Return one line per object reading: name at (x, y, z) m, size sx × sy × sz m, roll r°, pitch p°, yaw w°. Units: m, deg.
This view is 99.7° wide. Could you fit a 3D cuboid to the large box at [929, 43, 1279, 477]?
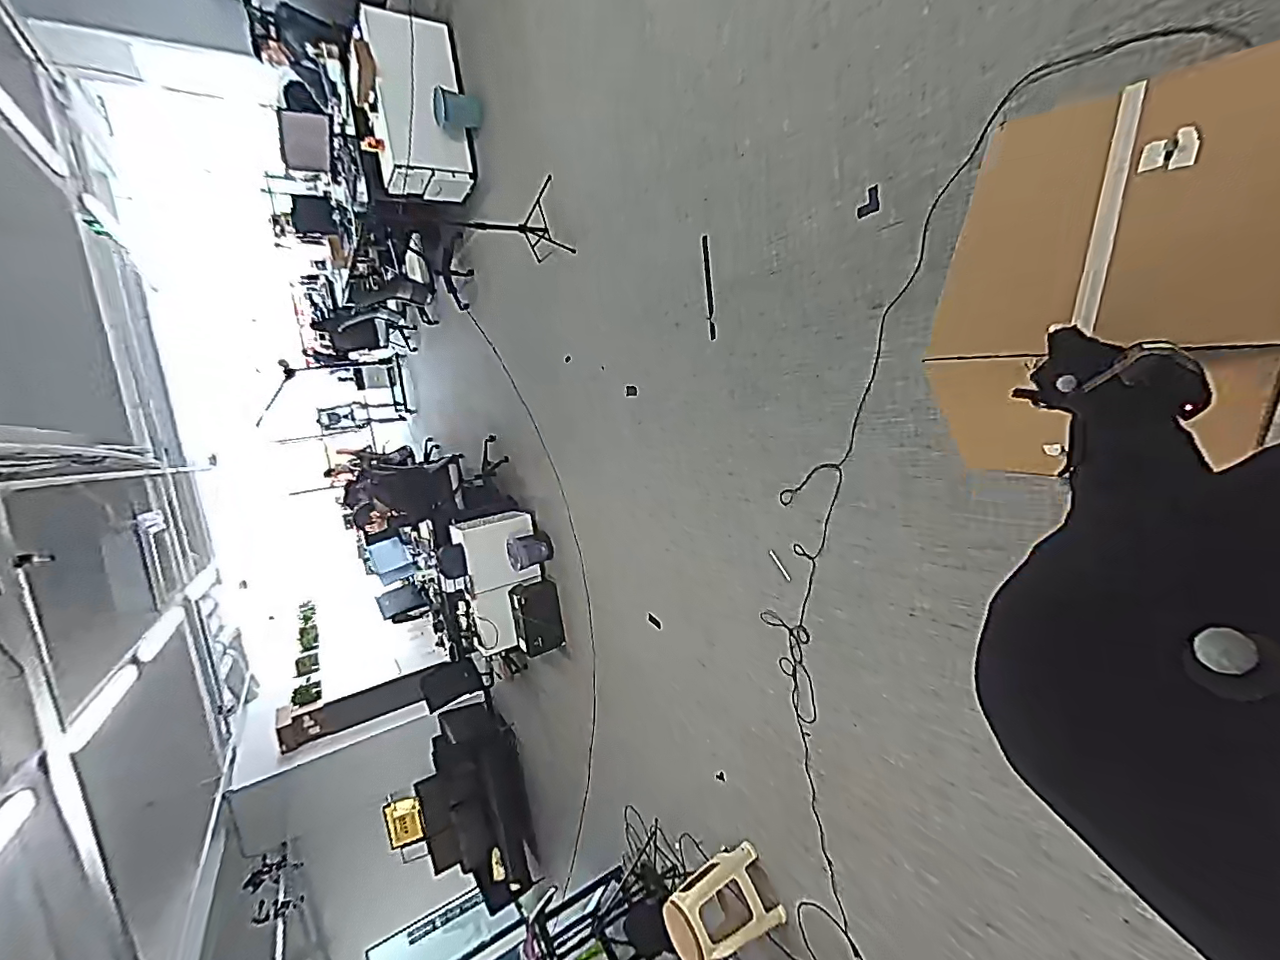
large box at (0.644, -0.254, 0.737) m, size 0.320 × 0.320 × 0.408 m, roll 10°, pitch 71°, yaw 45°
